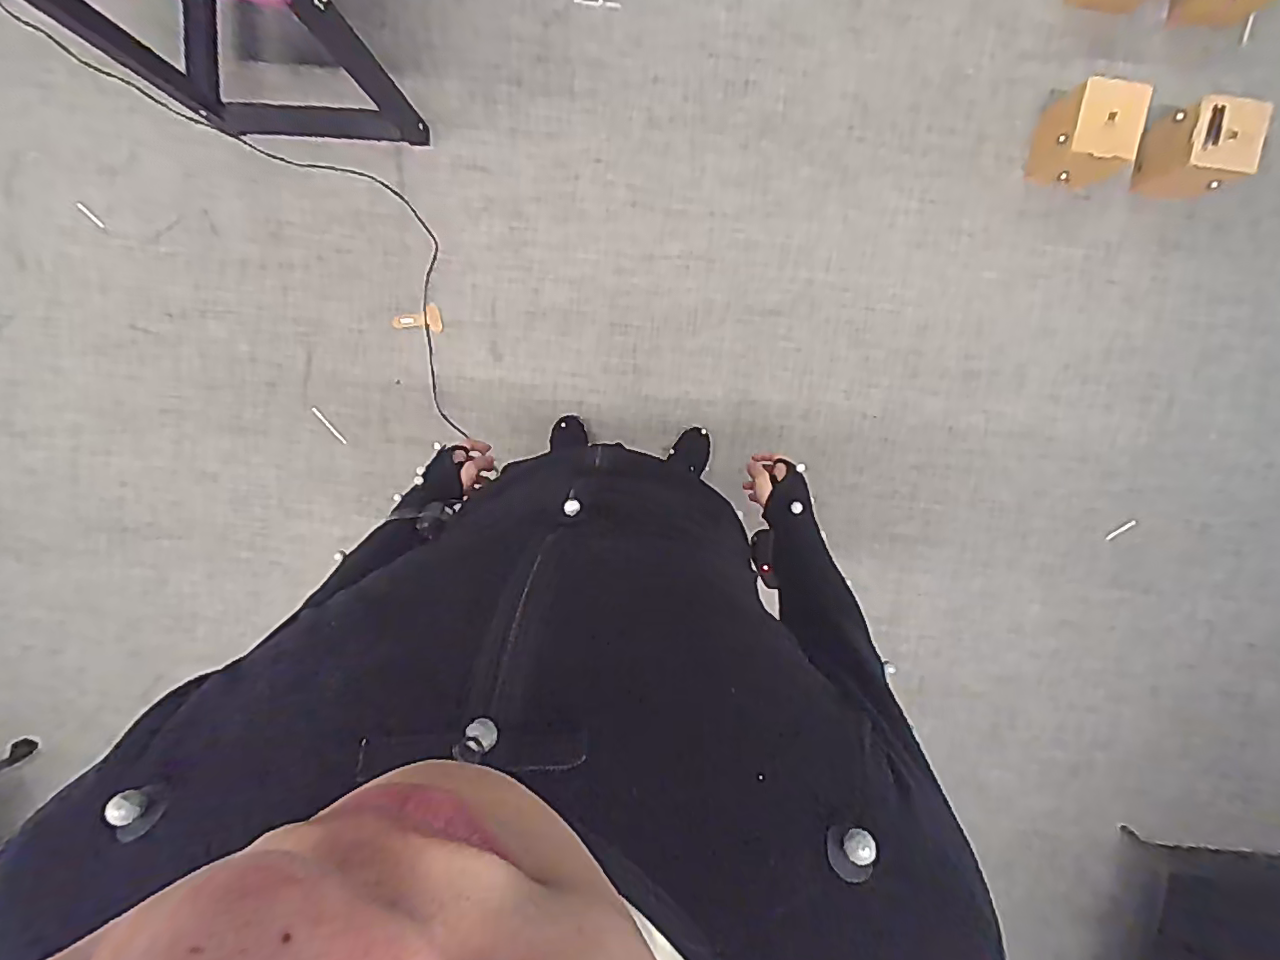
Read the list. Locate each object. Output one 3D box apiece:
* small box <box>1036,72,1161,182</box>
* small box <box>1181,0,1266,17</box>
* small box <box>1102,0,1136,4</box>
[{"bbox_3d":[1.172,-0.904,1.397,0.168,0.176,0.179,8,99,1],"label":"small box"},{"bbox_3d":[1.511,-1.293,1.332,0.179,0.176,0.168,8,98,0],"label":"small box"},{"bbox_3d":[1.236,-1.329,1.335,0.179,0.176,0.168,7,98,0],"label":"small box"}]
